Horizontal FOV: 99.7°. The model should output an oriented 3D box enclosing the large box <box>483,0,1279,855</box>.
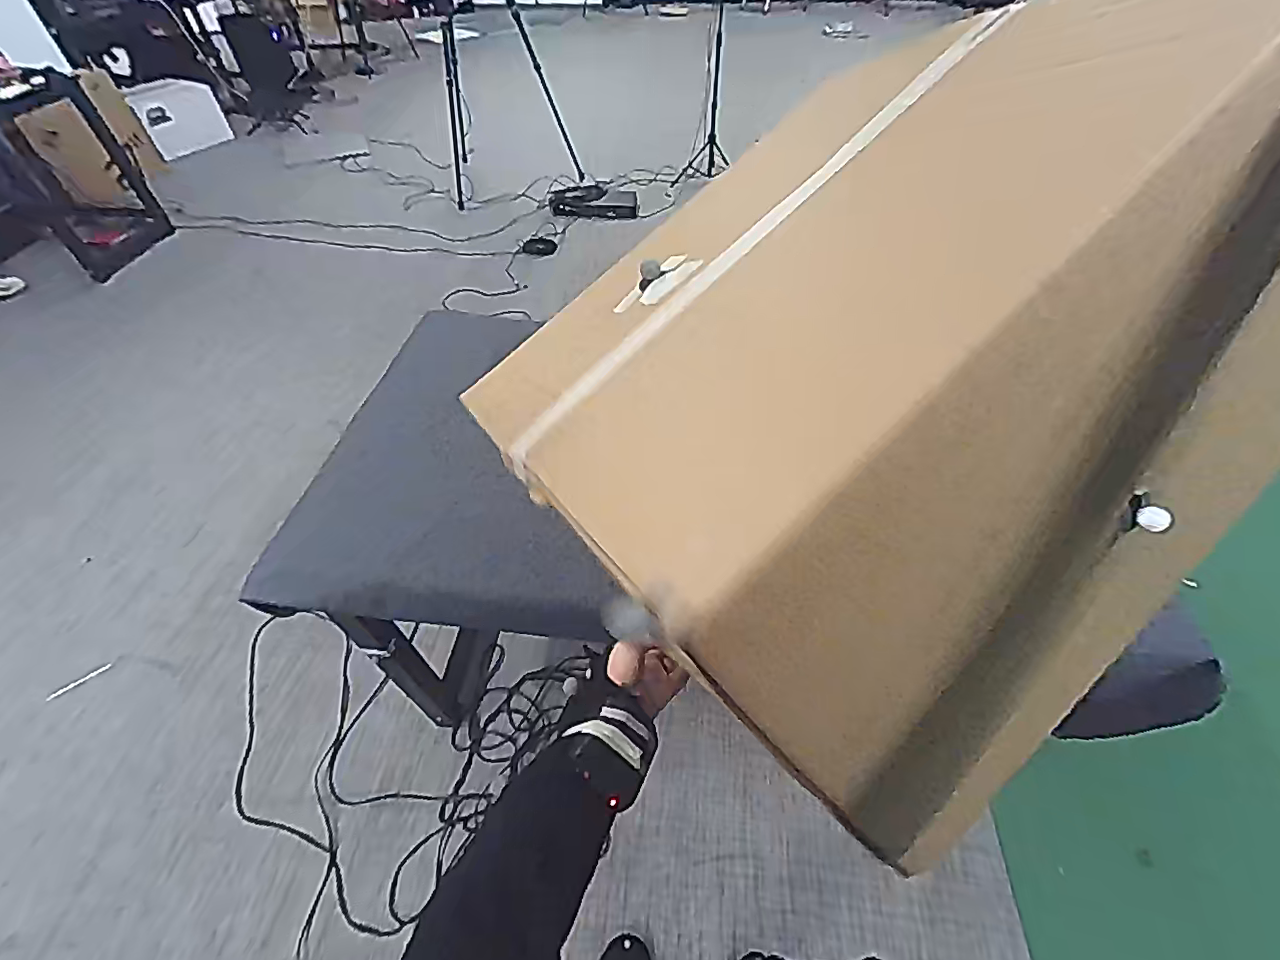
[{"bbox_3d":[0.170,-0.038,0.401,0.408,0.320,0.320,-46,36,-7],"label":"large box"}]
